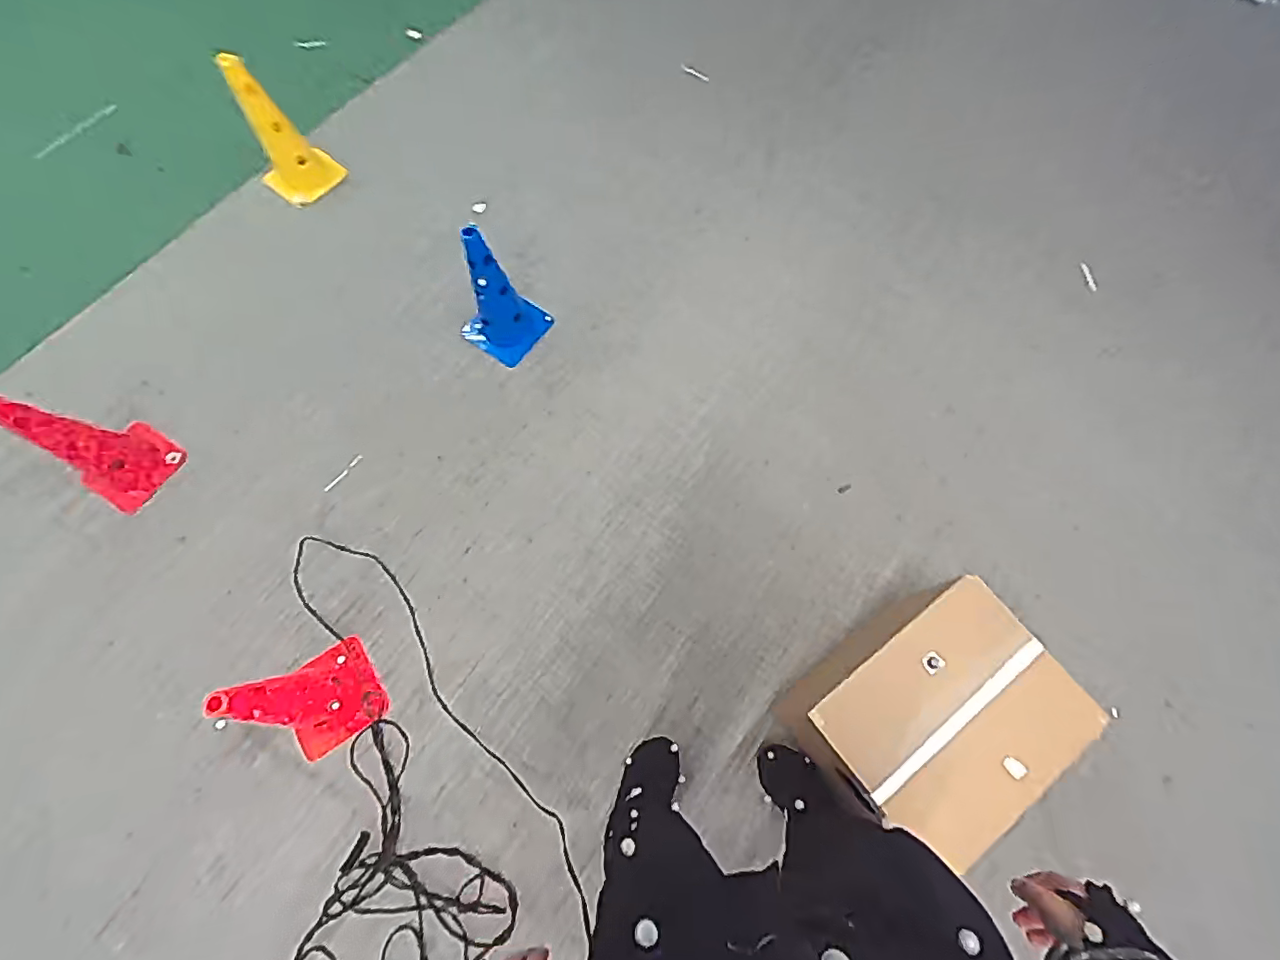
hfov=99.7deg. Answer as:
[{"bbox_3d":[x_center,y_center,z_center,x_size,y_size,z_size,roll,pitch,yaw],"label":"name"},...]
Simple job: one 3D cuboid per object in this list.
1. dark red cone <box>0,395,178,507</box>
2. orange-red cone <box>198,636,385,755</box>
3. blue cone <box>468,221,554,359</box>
[{"bbox_3d":[-1.319,-0.104,1.232,0.201,0.394,0.202,27,73,14],"label":"dark red cone"},{"bbox_3d":[-0.691,0.414,1.040,0.199,0.360,0.198,-32,71,-8],"label":"orange-red cone"},{"bbox_3d":[-0.371,-0.499,1.388,0.193,0.380,0.192,35,74,13],"label":"blue cone"}]
